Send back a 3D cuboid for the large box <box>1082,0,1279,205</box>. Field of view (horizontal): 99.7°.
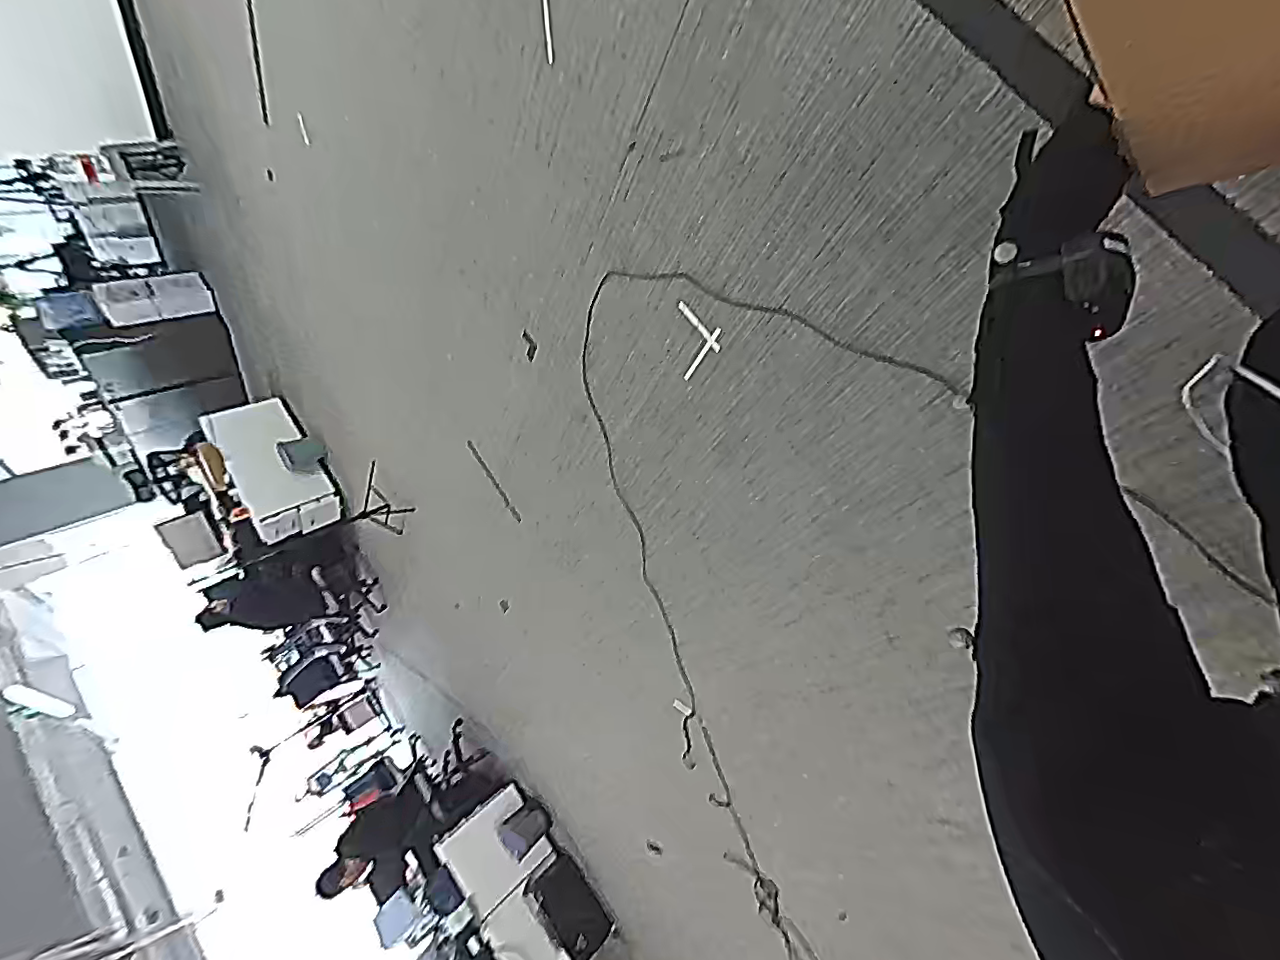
[{"bbox_3d":[0.479,-0.380,0.219,0.408,0.320,0.320,6,89,51],"label":"large box"}]
